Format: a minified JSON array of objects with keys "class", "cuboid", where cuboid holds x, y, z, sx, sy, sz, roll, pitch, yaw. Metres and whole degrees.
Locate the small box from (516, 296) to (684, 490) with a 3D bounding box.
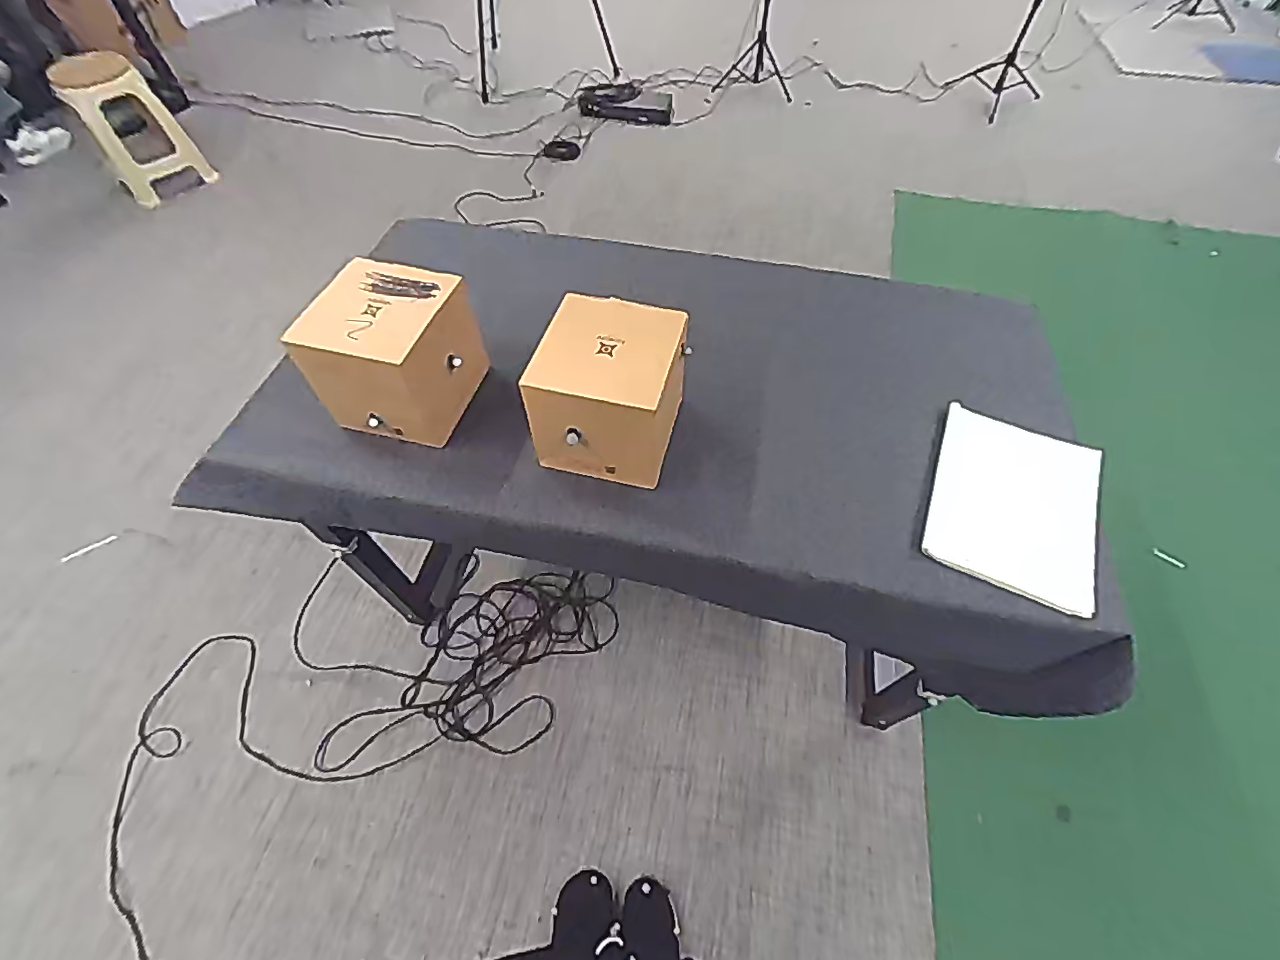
[{"class":"small box","cuboid":[-0.041,-0.110,0.713,0.168,0.176,0.179,12,56,8]}]
